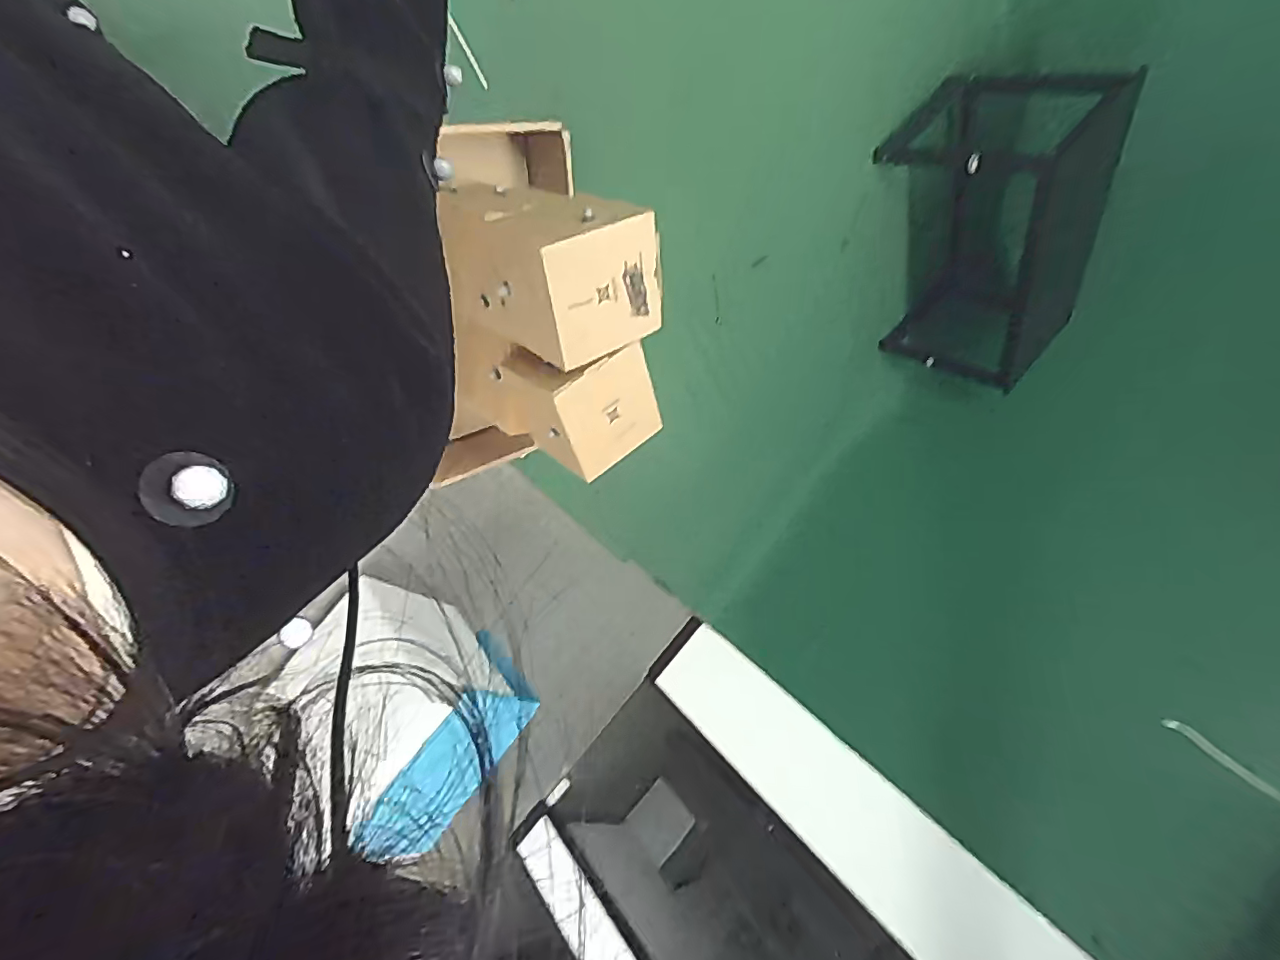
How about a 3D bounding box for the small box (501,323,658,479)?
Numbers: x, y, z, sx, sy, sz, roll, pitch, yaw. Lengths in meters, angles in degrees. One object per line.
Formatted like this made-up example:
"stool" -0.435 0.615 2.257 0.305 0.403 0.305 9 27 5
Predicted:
"small box" -0.098 -0.138 0.876 0.168 0.176 0.179 -37 136 -22
